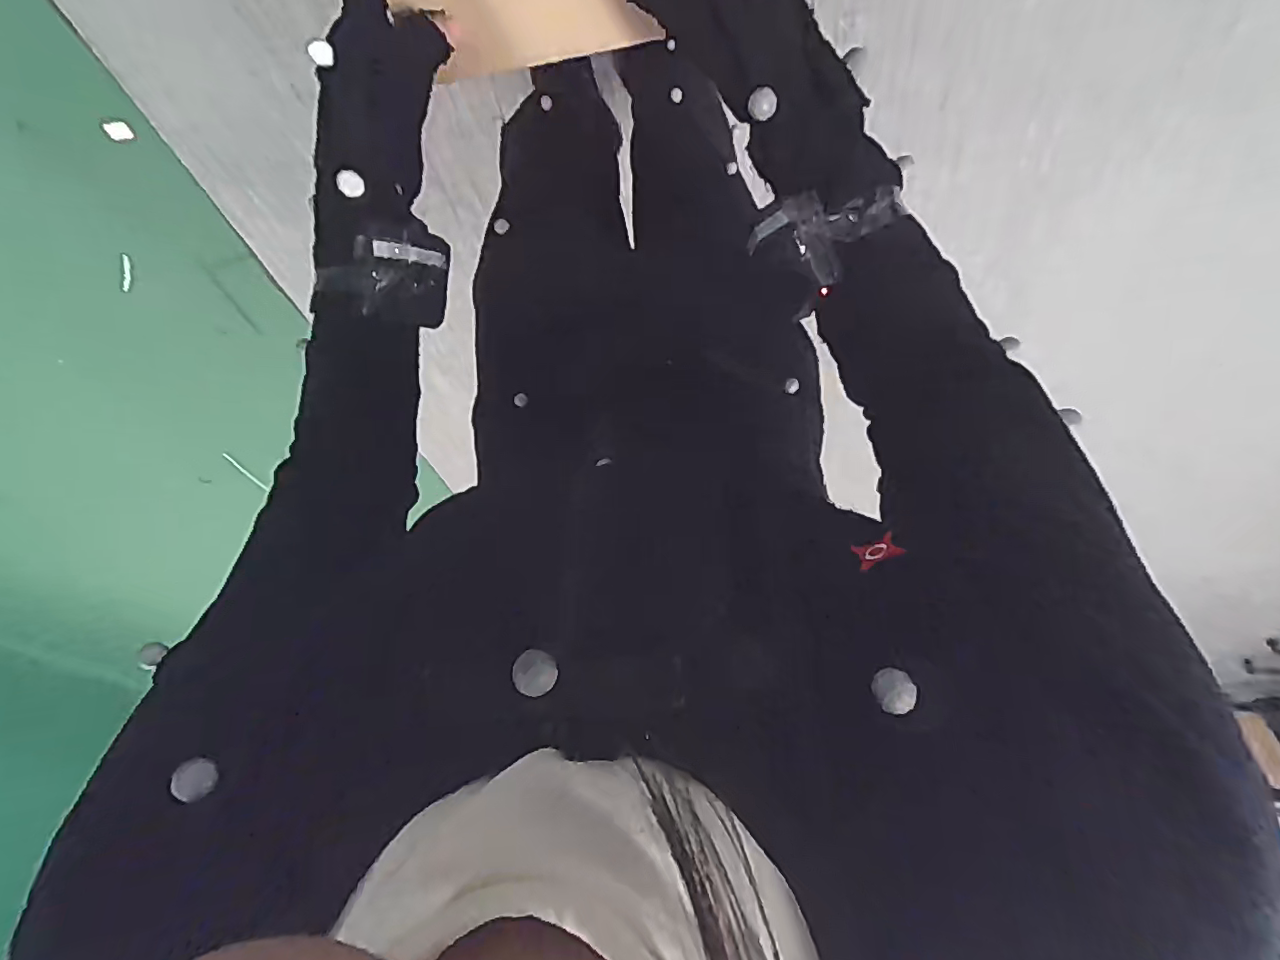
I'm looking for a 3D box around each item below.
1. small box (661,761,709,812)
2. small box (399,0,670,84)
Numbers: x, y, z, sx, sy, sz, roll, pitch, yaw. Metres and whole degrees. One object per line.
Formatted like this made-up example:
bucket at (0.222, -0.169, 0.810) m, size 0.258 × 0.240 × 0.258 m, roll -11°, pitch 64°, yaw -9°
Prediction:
small box at (0.190, 1.298, 2.288) m, size 0.179 × 0.176 × 0.168 m, roll -9°, pitch 143°, yaw 11°
small box at (-0.082, -0.405, 0.367) m, size 0.179 × 0.176 × 0.168 m, roll -8°, pitch 141°, yaw 3°
